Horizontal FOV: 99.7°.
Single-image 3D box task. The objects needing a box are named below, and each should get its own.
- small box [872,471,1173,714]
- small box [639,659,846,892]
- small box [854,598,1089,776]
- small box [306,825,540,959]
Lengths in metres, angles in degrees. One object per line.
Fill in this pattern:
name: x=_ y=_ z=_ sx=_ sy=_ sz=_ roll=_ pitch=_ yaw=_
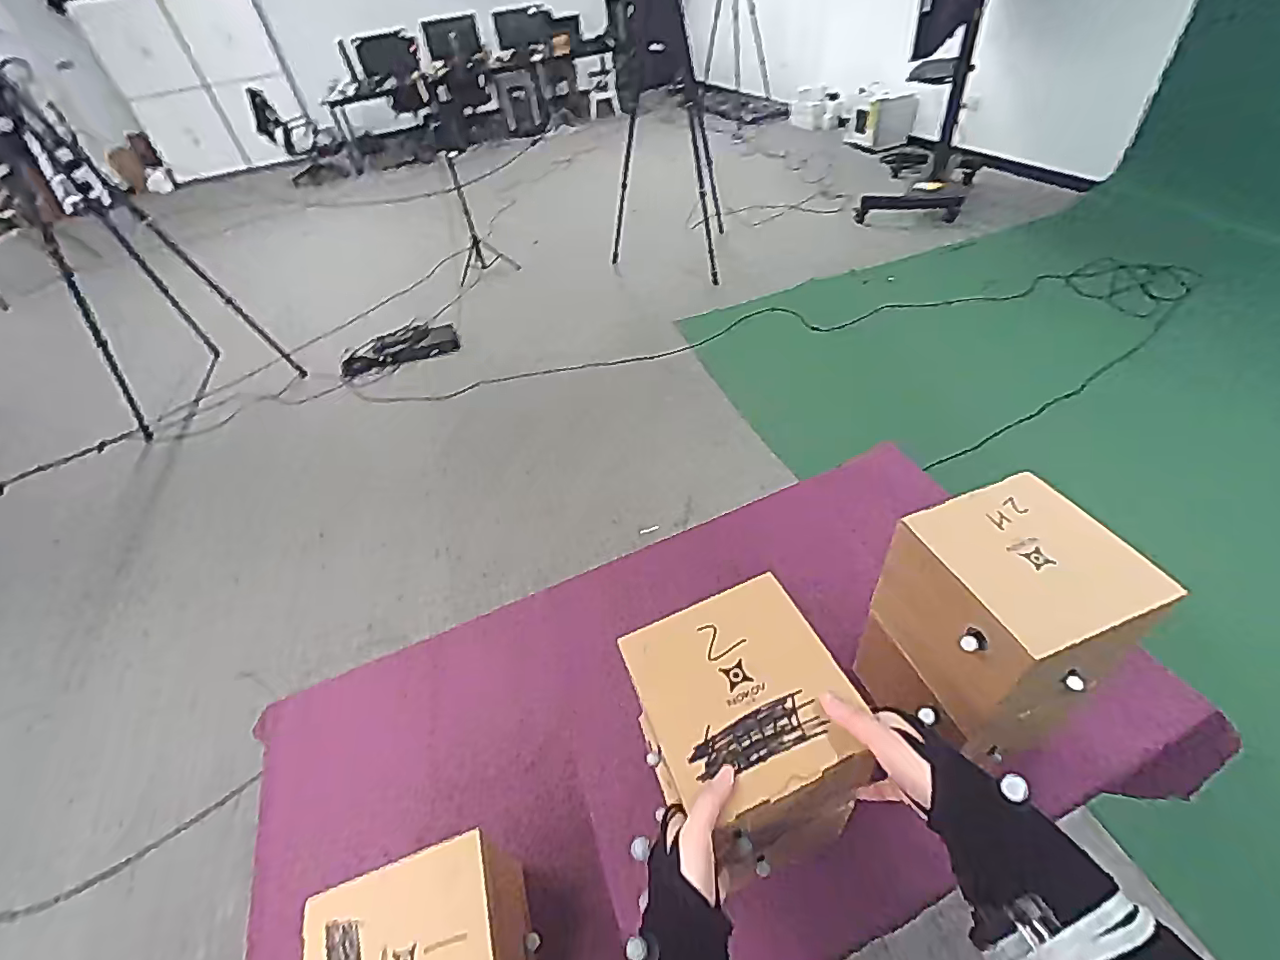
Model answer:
small box: x=0.383 y=0.126 z=0.584 sx=0.168 sy=0.176 sz=0.179 roll=-18 pitch=44 yaw=-9
small box: x=0.115 y=0.350 z=0.638 sx=0.179 sy=0.176 sz=0.168 roll=-19 pitch=44 yaw=-8
small box: x=0.402 y=0.243 z=0.698 sx=0.168 sy=0.176 sz=0.179 roll=-18 pitch=45 yaw=-8
small box: x=-0.209 y=0.493 z=0.547 sx=0.179 sy=0.176 sz=0.168 roll=-18 pitch=44 yaw=-10
